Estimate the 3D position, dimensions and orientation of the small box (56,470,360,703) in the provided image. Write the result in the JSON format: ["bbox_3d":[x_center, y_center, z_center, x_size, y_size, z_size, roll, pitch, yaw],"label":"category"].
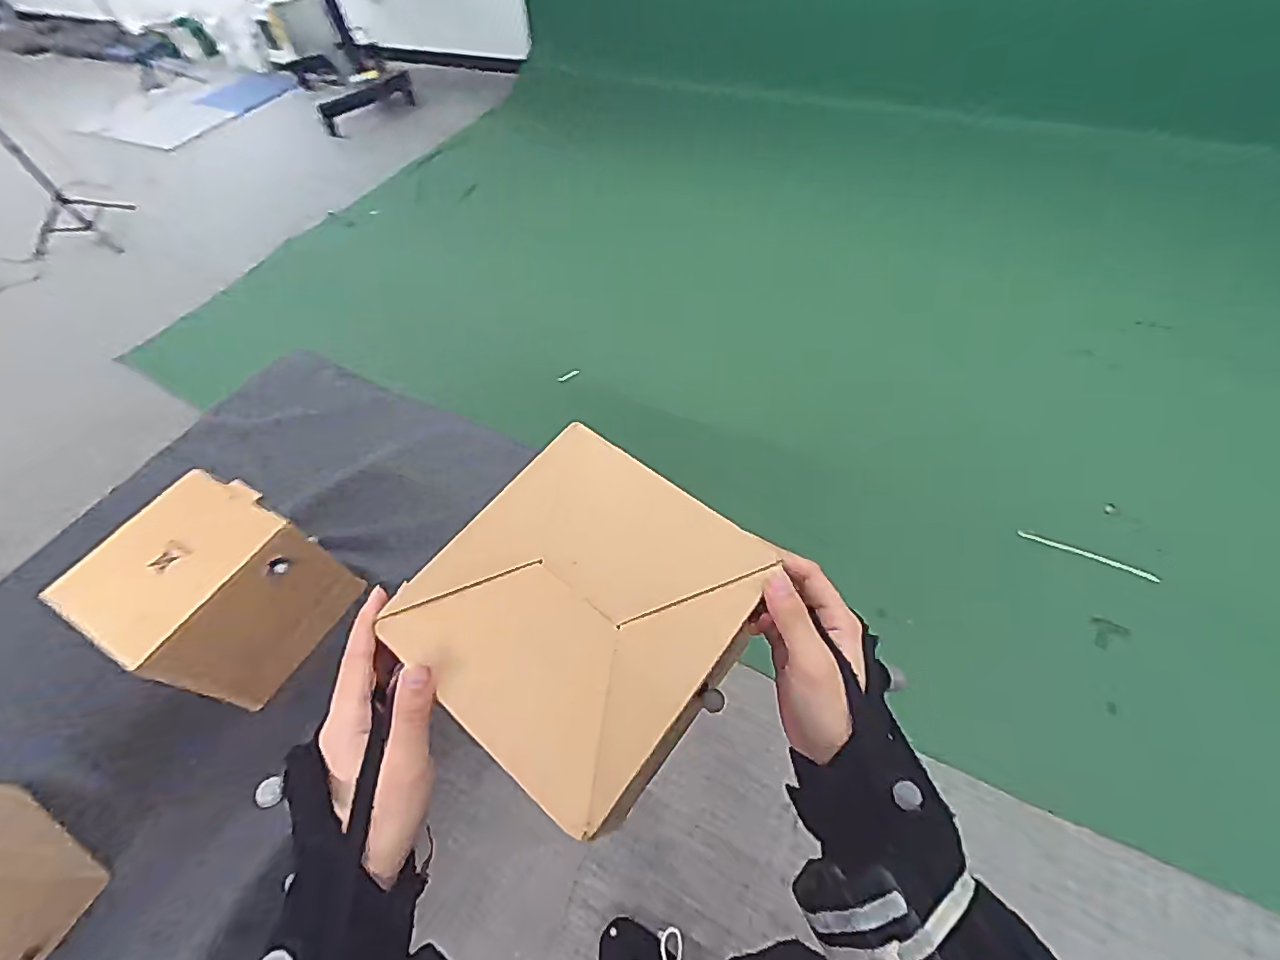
[{"bbox_3d":[-0.468,0.125,0.618,0.168,0.176,0.179,21,59,20],"label":"small box"}]
